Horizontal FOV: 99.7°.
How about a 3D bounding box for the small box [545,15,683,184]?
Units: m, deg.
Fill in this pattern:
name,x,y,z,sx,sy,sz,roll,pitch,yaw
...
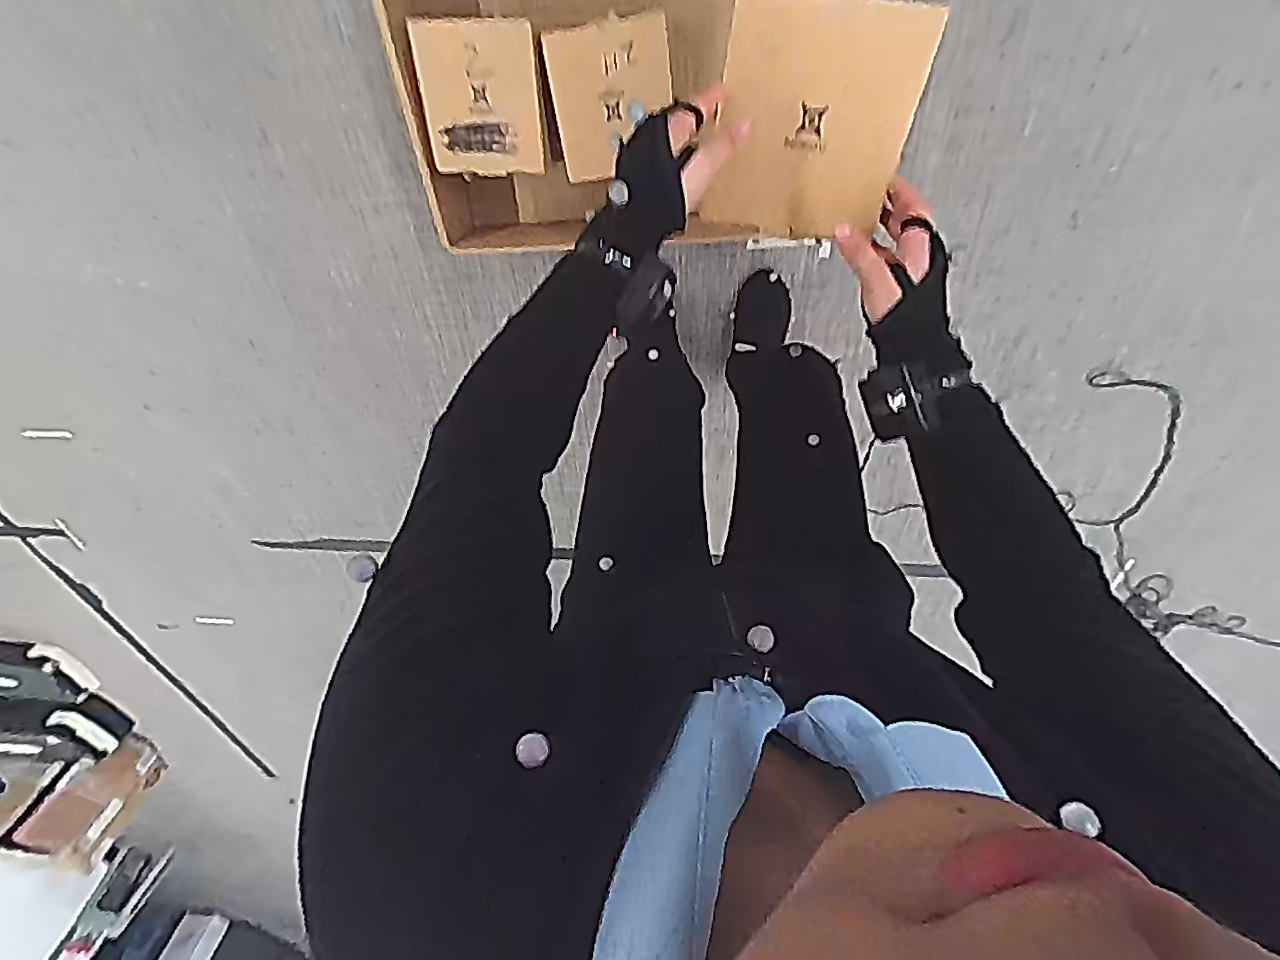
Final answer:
name,x,y,z,sx,sy,sz,roll,pitch,yaw
small box,-0.026,-0.563,0.804,0.168,0.176,0.179,-3,127,9
